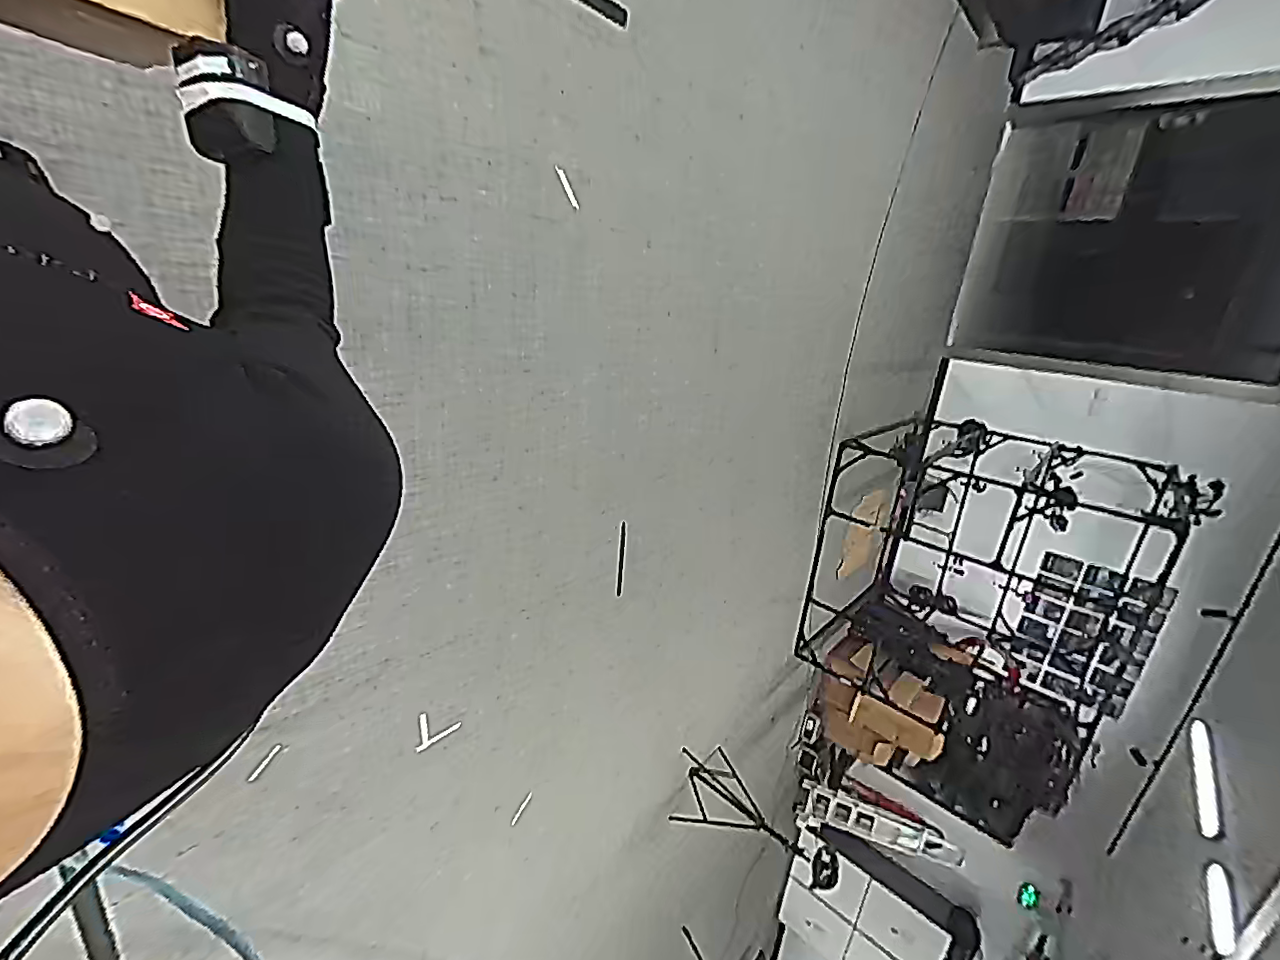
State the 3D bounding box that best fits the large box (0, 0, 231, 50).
[{"bbox_3d":[-0.510,-0.495,0.279,0.408,0.320,0.320,-13,124,-49],"label":"large box"}]
